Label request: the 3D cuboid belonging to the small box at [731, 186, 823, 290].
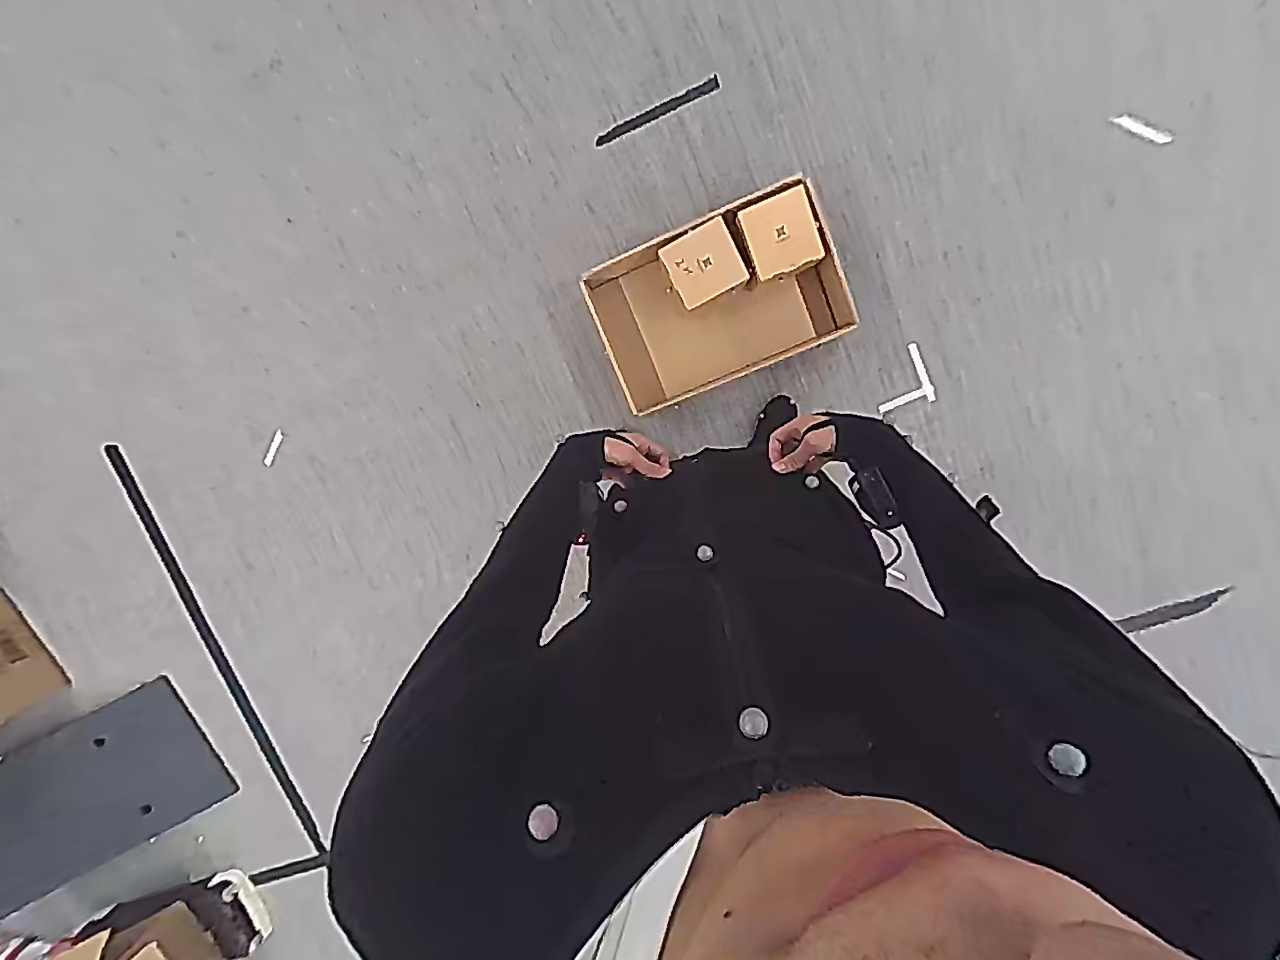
[{"bbox_3d":[0.342,-0.610,1.383,0.168,0.176,0.179,-21,100,9],"label":"small box"}]
